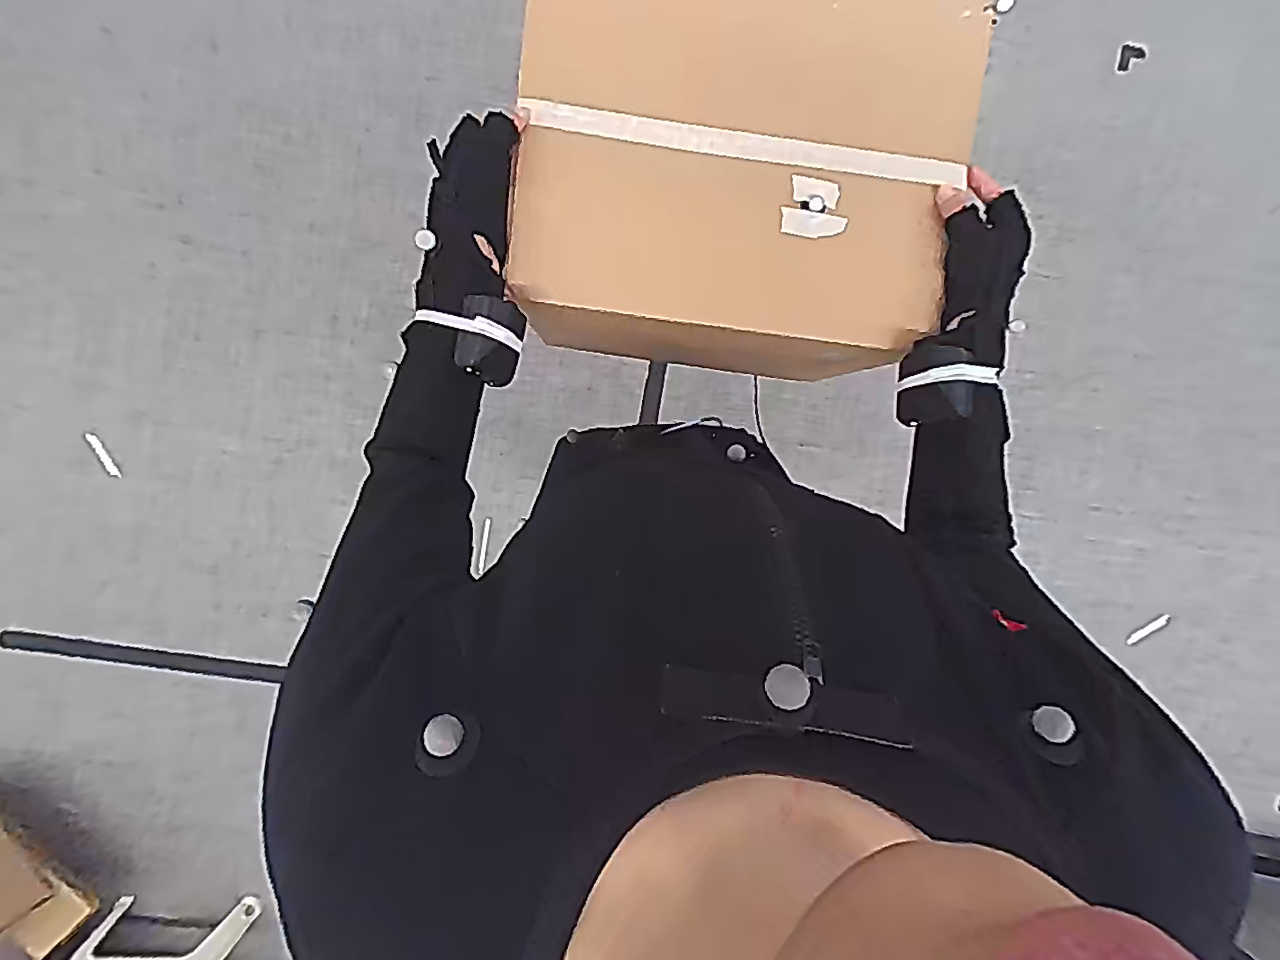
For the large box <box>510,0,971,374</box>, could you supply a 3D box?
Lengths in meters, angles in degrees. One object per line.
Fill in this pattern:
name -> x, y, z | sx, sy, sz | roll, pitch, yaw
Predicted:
large box -> 0.082, -0.315, 0.643 | 0.408, 0.320, 0.320 | 7, 97, -4
